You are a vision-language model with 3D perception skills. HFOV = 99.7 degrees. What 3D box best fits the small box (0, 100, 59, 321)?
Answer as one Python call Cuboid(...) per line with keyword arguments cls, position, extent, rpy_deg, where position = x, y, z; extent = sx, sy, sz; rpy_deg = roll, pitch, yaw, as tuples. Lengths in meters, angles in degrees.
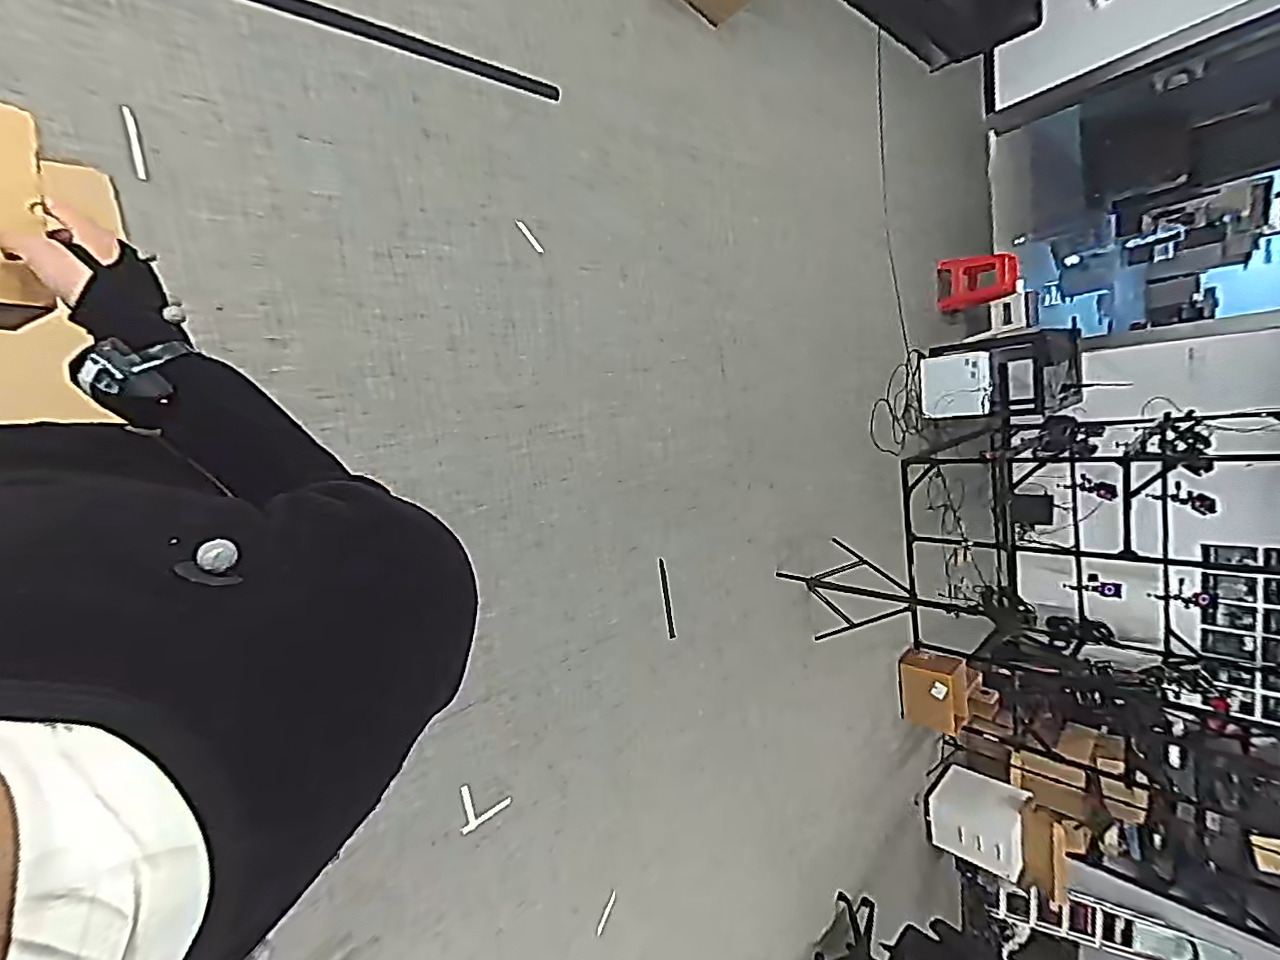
Cuboid(cls="small box", position=(-0.625, -0.227, 0.438), extent=(0.179, 0.176, 0.168), rpy_deg=(-10, 102, -58))
